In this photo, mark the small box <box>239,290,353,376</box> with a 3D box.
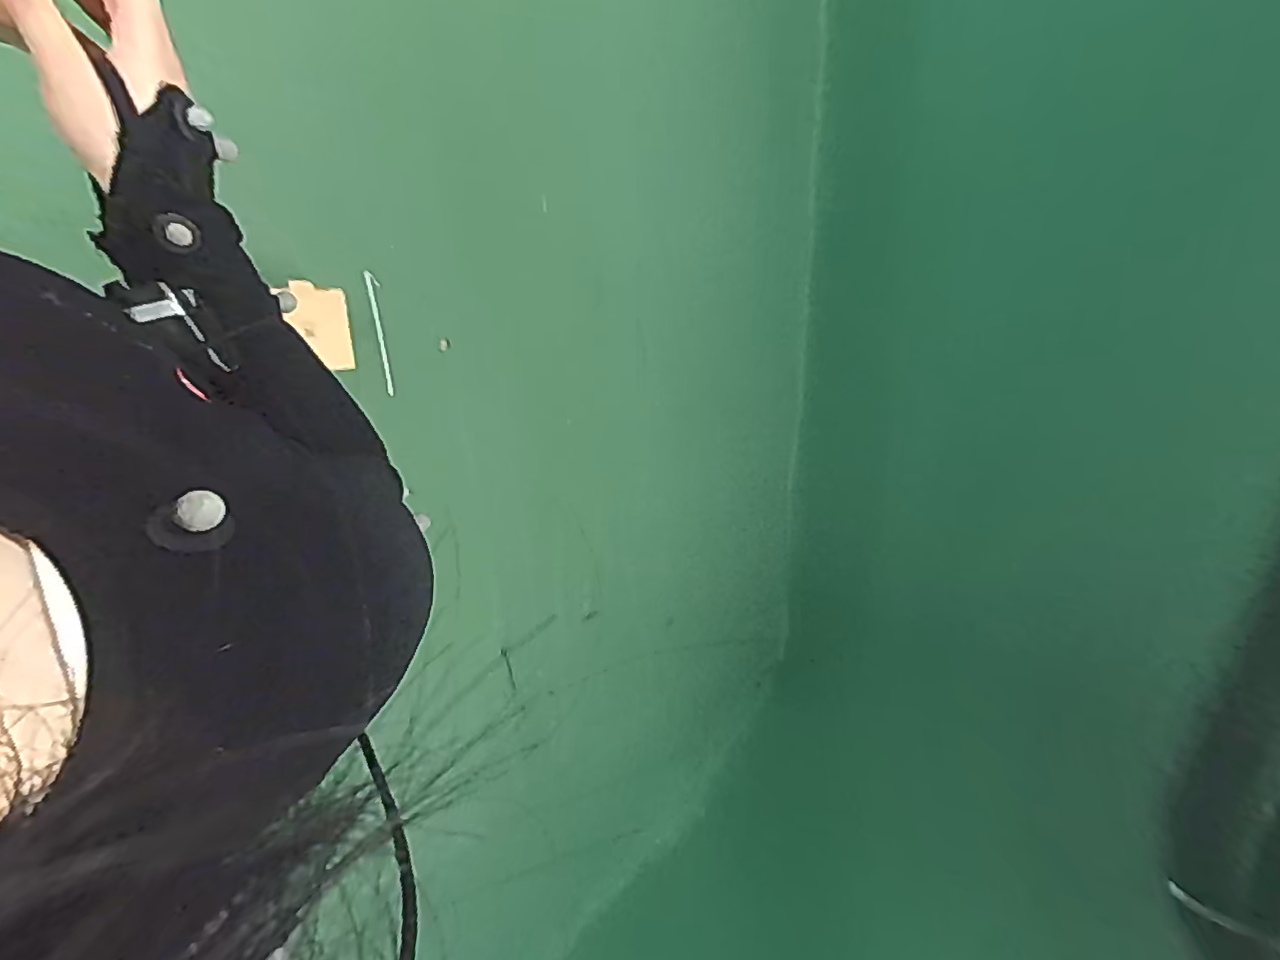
[{"bbox_3d":[-0.777,-0.335,1.223,0.168,0.176,0.179,-18,115,-45],"label":"small box"}]
